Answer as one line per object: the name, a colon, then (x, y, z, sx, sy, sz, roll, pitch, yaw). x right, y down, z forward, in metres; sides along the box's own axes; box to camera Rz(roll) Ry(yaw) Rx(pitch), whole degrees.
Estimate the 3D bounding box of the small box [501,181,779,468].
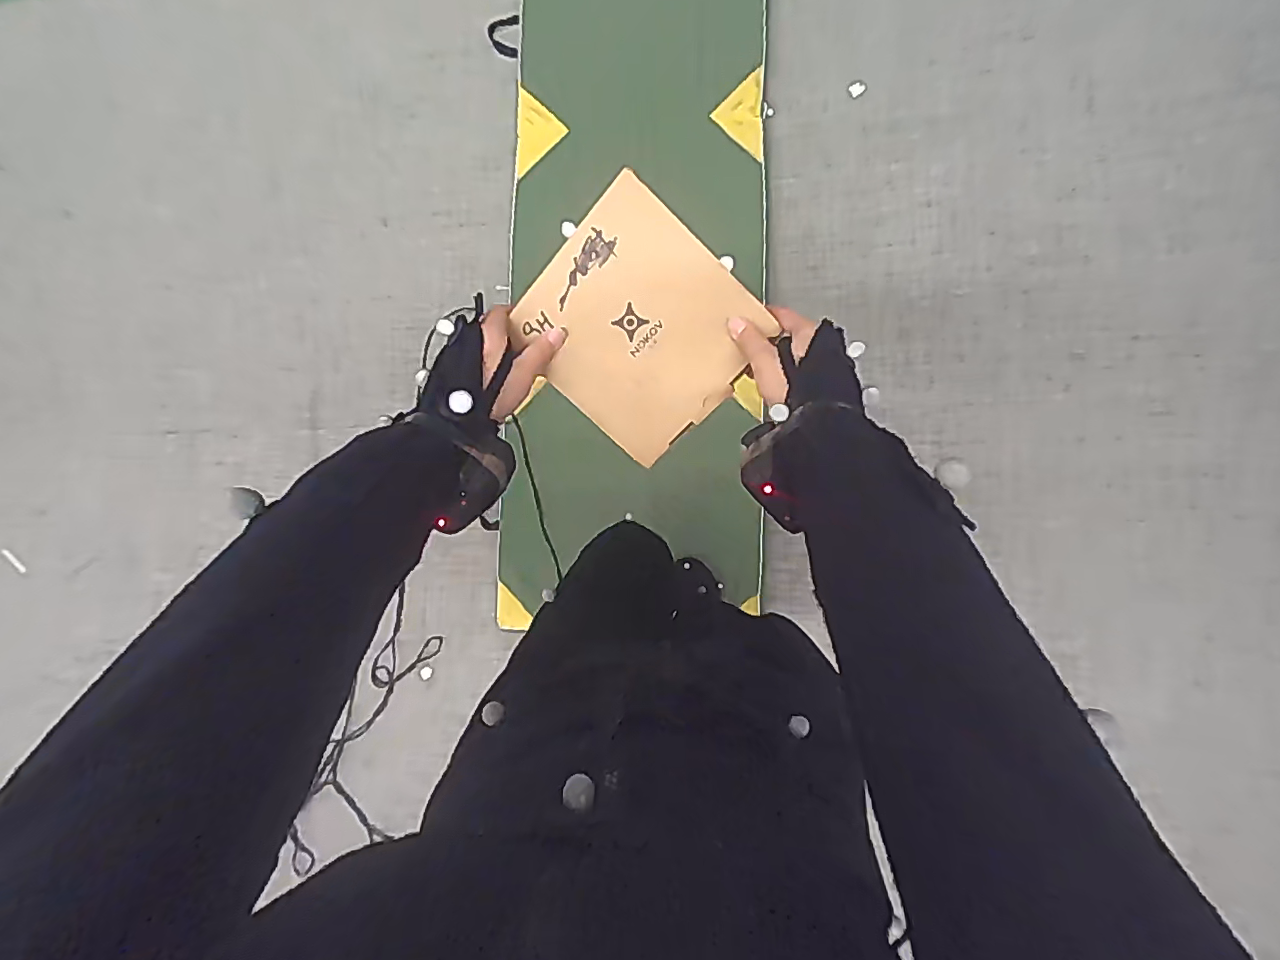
small box: (0.005, -0.146, 0.521, 0.179, 0.176, 0.168, 42, 107, -9)
